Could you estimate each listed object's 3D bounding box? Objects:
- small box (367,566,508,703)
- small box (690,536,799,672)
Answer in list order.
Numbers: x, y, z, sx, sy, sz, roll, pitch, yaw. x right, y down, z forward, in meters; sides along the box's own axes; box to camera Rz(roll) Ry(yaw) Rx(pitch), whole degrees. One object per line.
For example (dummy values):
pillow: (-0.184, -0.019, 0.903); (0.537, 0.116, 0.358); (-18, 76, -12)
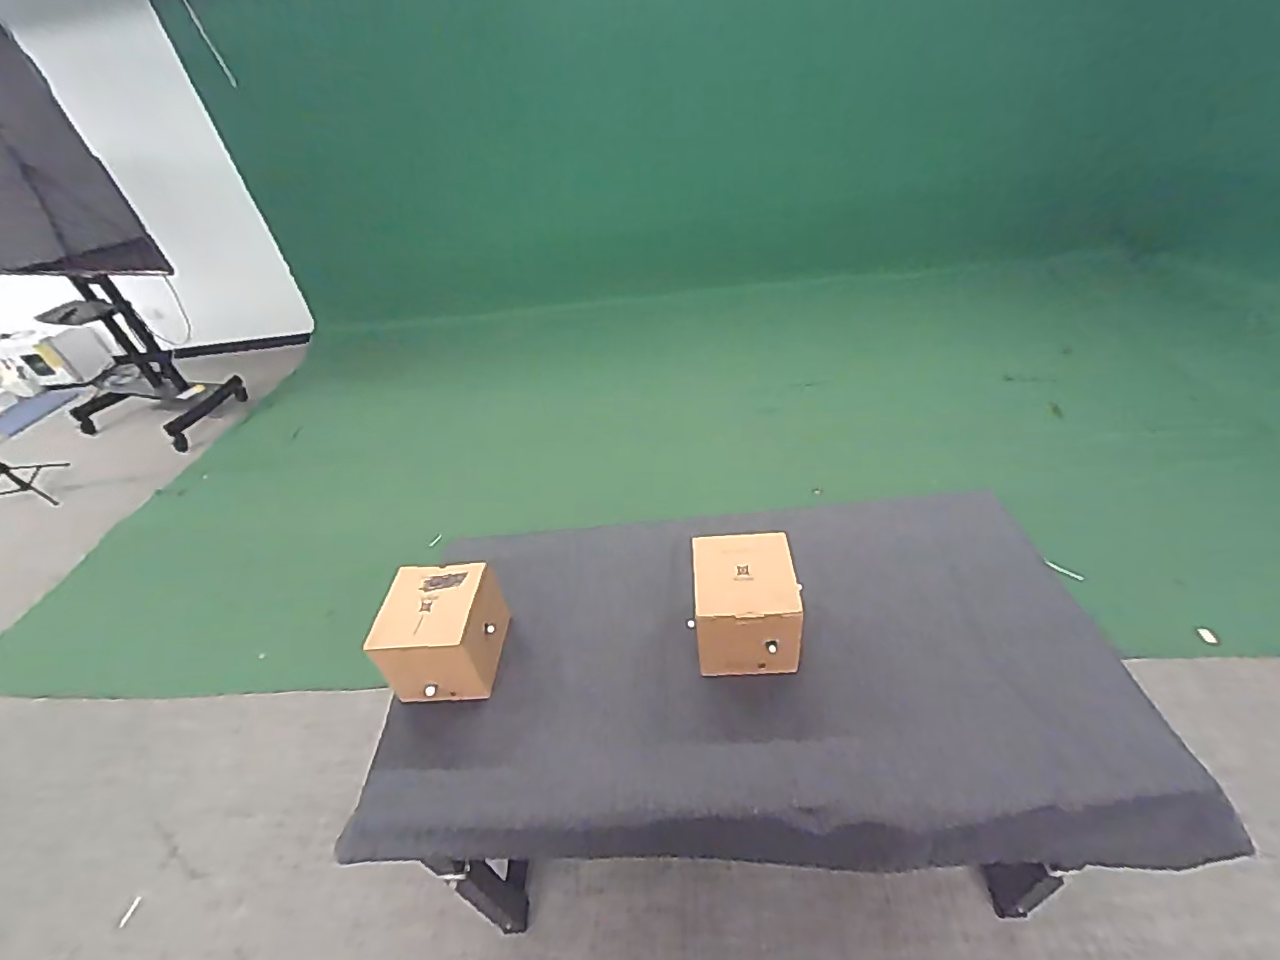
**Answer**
small box: (-0.350, 0.279, 0.977); (0.168, 0.176, 0.179); (-4, 40, 5)
small box: (0.178, 0.222, 0.952); (0.168, 0.176, 0.179); (-4, 39, 4)
